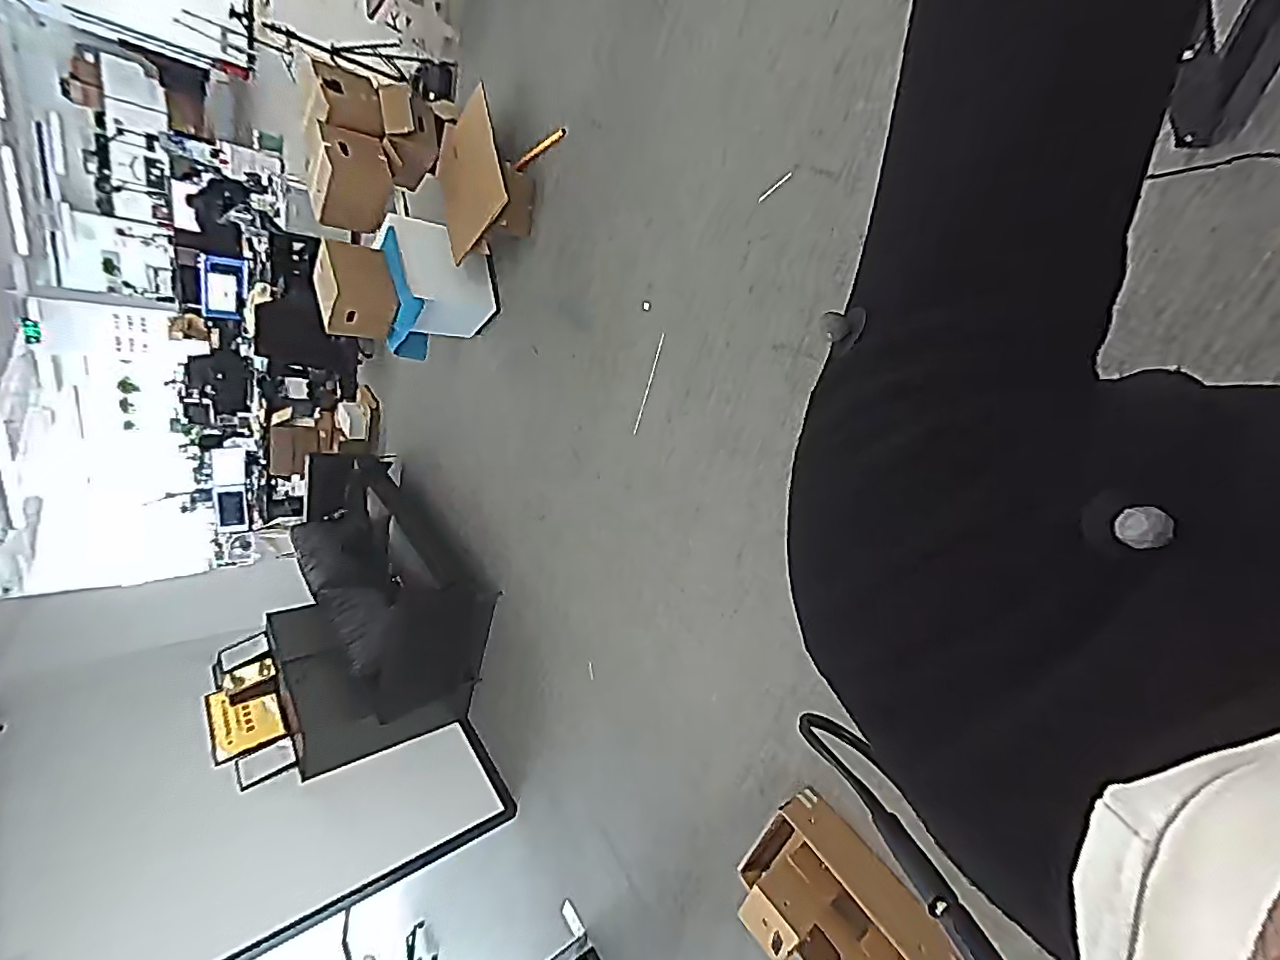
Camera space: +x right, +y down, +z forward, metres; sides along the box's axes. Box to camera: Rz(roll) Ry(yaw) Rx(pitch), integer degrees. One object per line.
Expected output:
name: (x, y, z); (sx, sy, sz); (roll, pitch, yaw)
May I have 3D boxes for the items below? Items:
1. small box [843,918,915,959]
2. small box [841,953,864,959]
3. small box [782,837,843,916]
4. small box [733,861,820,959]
small box: (0.722, 1.493, 1.640); (0.168, 0.176, 0.179); (41, 123, 38)
small box: (0.600, 1.499, 1.531); (0.179, 0.176, 0.168); (40, 122, 39)
small box: (0.552, 1.350, 1.813); (0.168, 0.176, 0.179); (41, 122, 37)
small box: (0.431, 1.360, 1.701); (0.179, 0.176, 0.168); (37, 119, 39)
